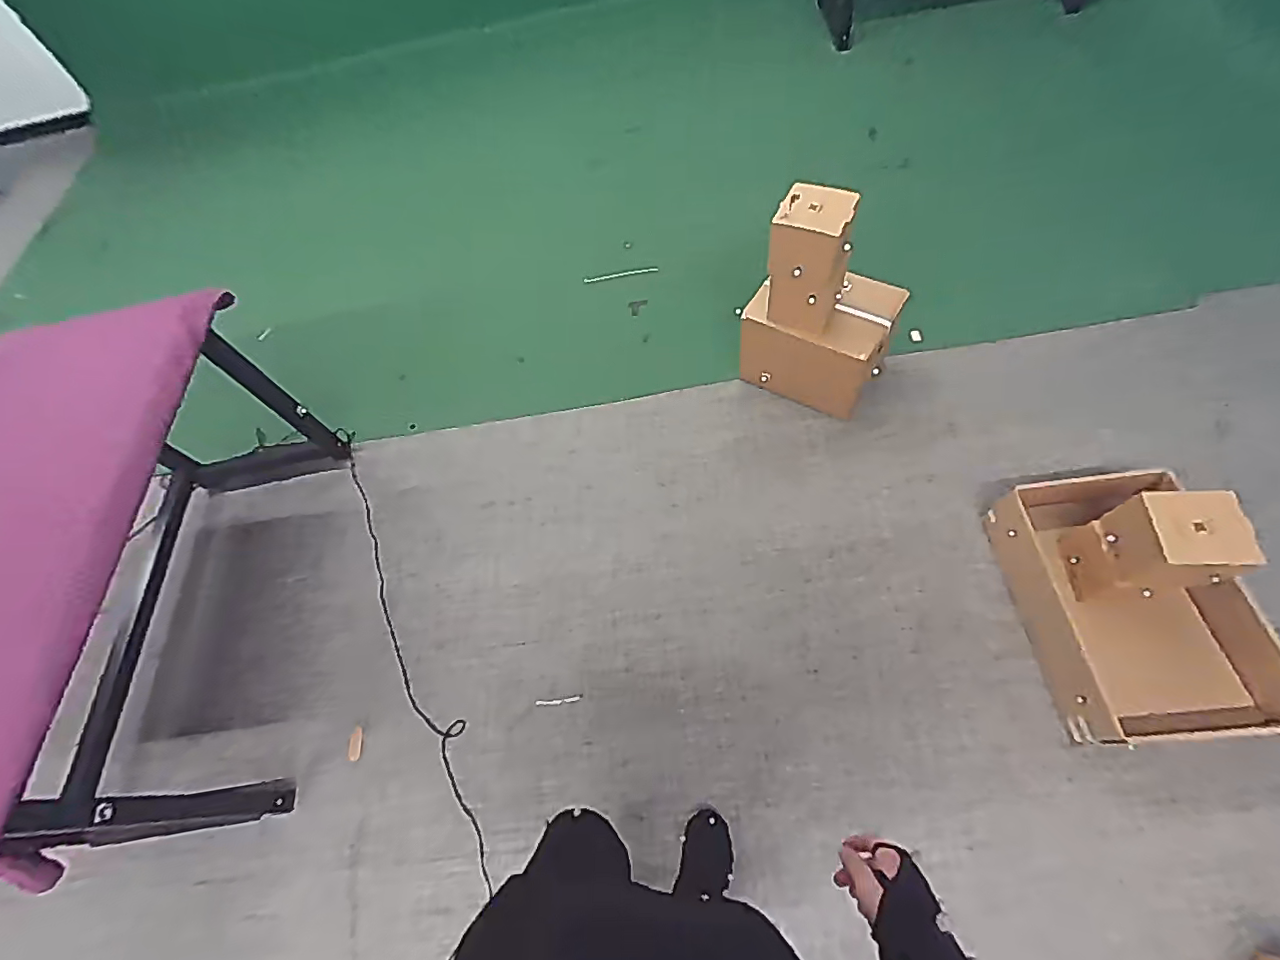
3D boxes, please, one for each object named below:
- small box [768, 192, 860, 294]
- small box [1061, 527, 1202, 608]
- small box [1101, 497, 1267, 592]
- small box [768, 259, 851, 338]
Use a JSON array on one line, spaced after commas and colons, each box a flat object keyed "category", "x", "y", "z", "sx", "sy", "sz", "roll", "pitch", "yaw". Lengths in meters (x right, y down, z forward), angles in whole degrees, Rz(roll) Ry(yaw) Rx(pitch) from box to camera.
[{"category": "small box", "x": 0.457, "y": -0.625, "z": 1.440, "sx": 0.179, "sy": 0.176, "sz": 0.168, "roll": 23, "pitch": 67, "yaw": 19}, {"category": "small box", "x": 1.205, "y": 0.218, "z": 1.342, "sx": 0.179, "sy": 0.176, "sz": 0.168, "roll": -5, "pitch": 64, "yaw": 8}, {"category": "small box", "x": 1.186, "y": 0.145, "z": 1.196, "sx": 0.179, "sy": 0.176, "sz": 0.168, "roll": -1, "pitch": 63, "yaw": 10}, {"category": "small box", "x": 0.489, "y": -0.542, "z": 1.578, "sx": 0.179, "sy": 0.176, "sz": 0.168, "roll": 22, "pitch": 67, "yaw": 19}]
